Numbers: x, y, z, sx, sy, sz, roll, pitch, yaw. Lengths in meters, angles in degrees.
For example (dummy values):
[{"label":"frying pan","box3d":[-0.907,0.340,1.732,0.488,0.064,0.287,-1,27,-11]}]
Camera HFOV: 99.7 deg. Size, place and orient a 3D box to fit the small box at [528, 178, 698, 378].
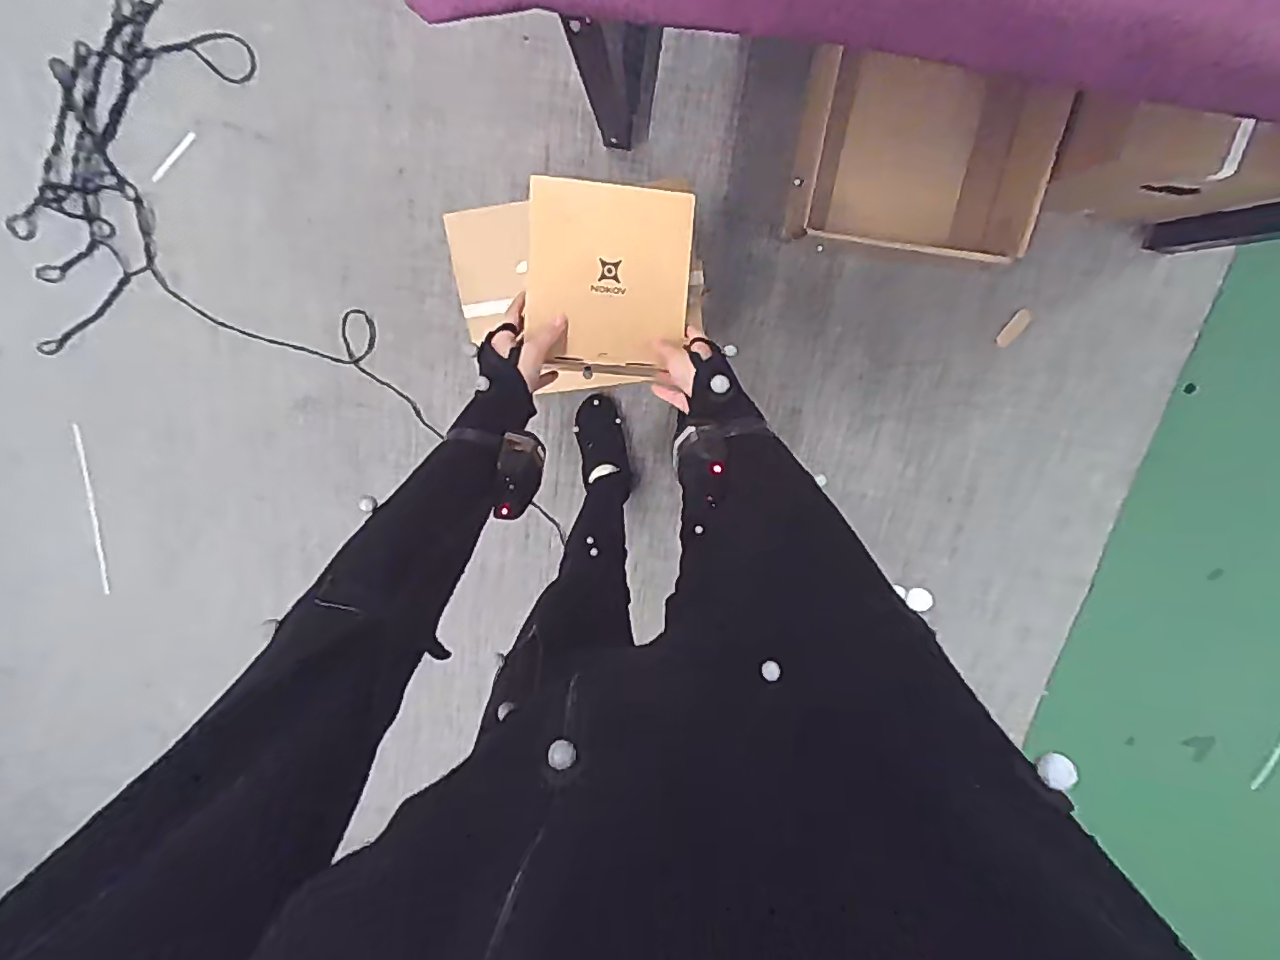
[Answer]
[{"label":"small box","box3d":[-0.038,-0.215,0.625,0.168,0.176,0.179,3,98,-8]}]
